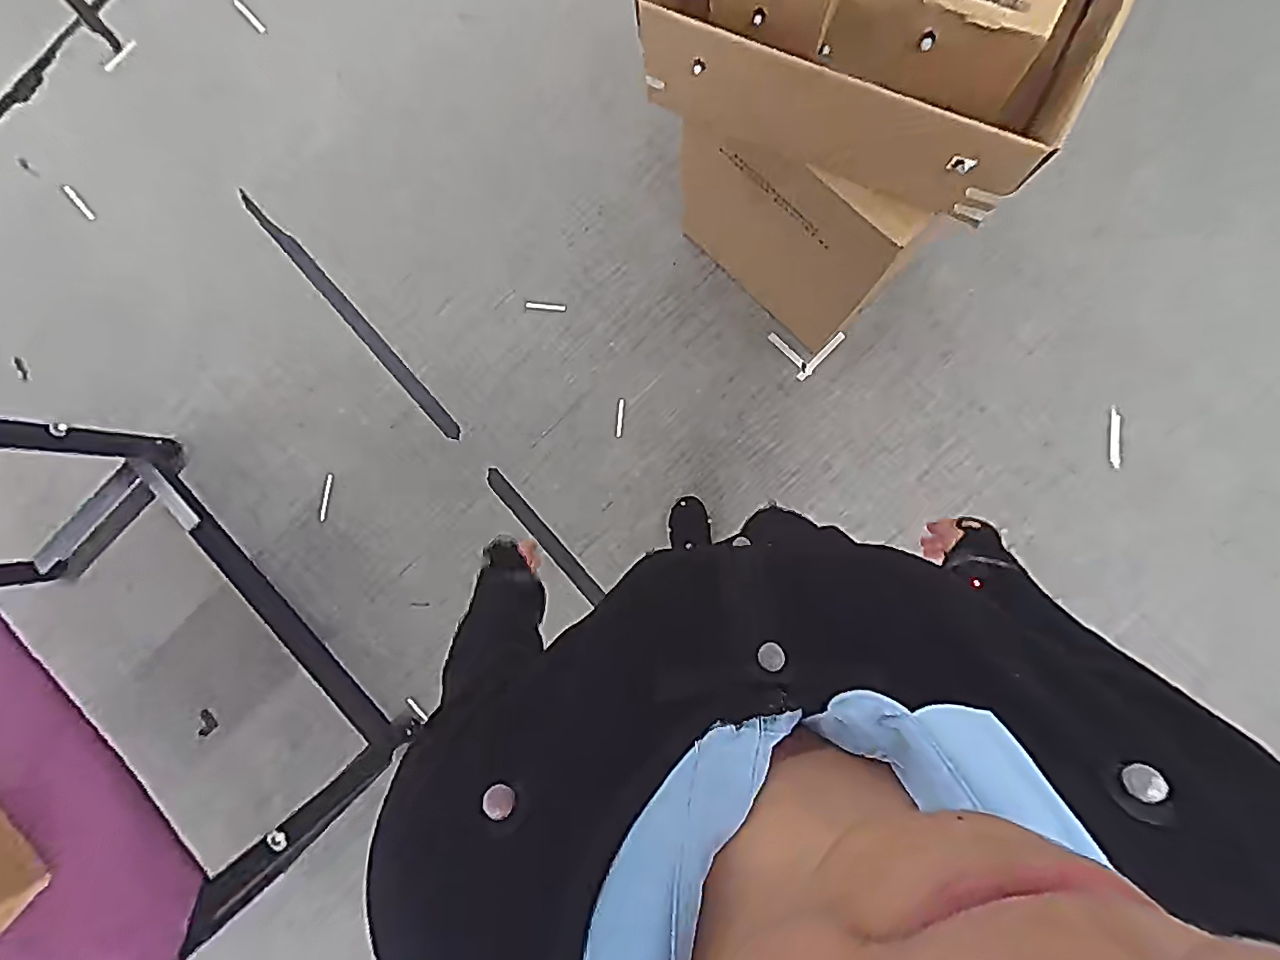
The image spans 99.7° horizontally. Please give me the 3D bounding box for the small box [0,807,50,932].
[{"bbox_3d":[-1.024,0.608,0.767,0.179,0.176,0.168,43,91,6],"label":"small box"}]
